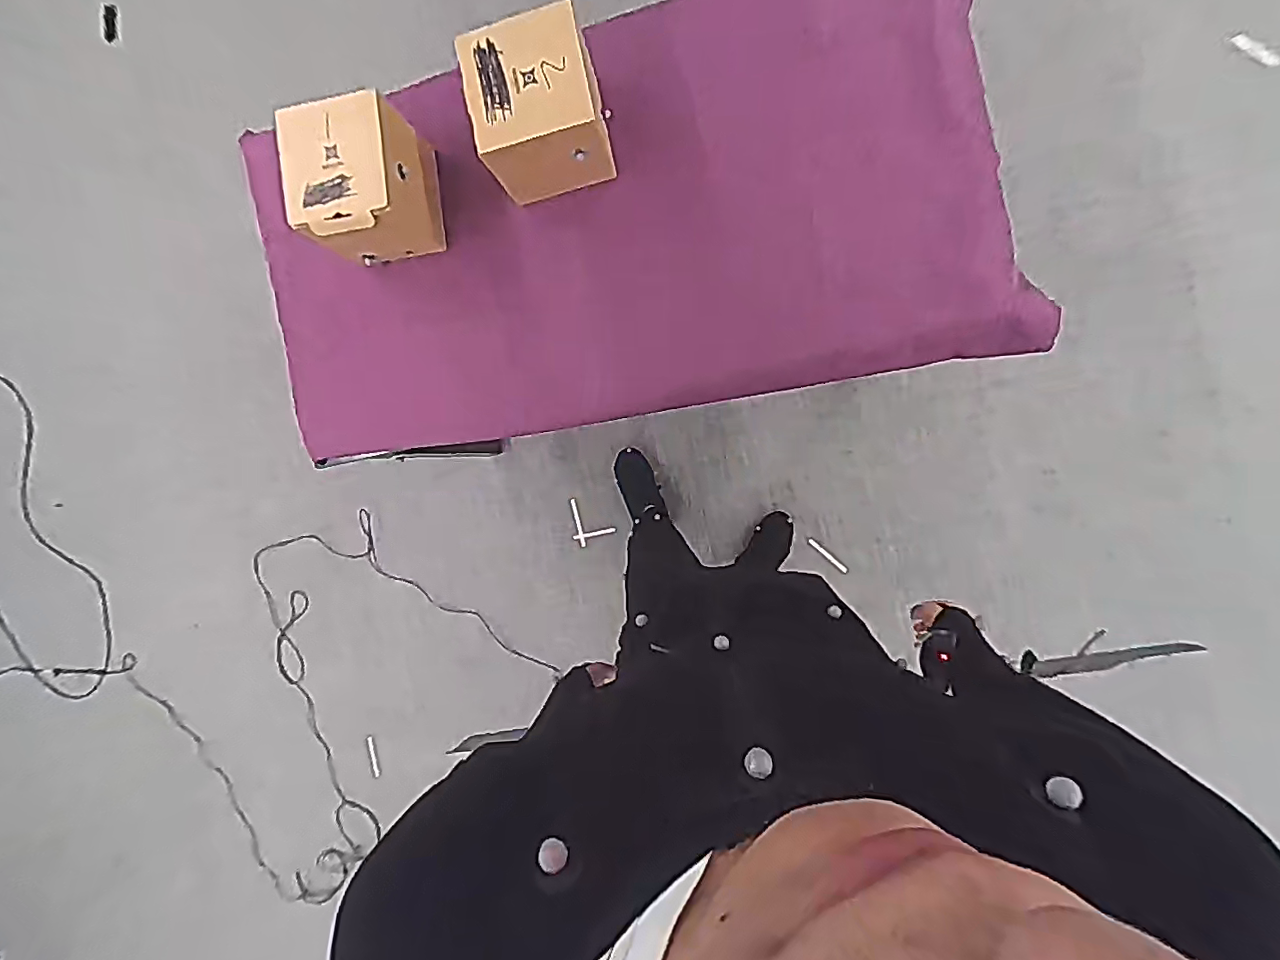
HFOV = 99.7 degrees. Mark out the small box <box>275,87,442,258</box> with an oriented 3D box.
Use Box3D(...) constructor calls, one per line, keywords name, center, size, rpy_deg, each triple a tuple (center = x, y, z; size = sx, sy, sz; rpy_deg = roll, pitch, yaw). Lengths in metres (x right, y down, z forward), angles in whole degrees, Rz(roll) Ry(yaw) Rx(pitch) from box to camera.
Box3D(name="small box", center=(-0.436, -0.472, 0.864), size=(0.168, 0.176, 0.179), rpy_deg=(-6, 92, 8))
